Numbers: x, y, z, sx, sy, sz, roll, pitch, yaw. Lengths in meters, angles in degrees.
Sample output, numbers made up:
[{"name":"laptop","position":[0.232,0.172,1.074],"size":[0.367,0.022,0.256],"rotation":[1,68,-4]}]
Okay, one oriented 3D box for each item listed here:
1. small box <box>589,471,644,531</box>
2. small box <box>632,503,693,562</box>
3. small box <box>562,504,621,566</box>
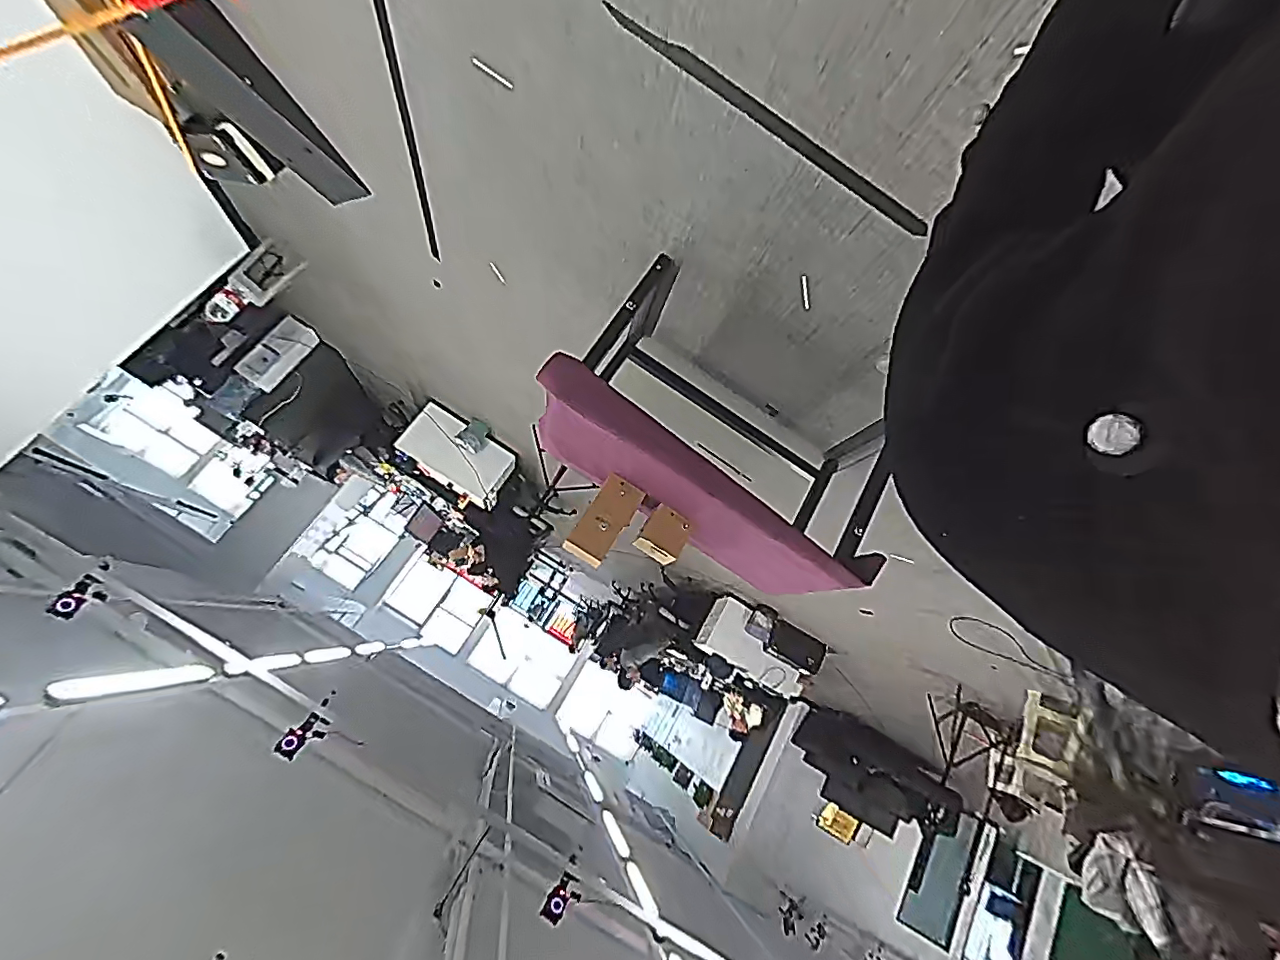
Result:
[{"name":"small box","position":[-0.103,0.090,2.190],"size":[0.168,0.176,0.179],"rotation":[33,160,-4]},{"name":"small box","position":[0.094,0.211,2.183],"size":[0.168,0.176,0.179],"rotation":[33,160,-3]},{"name":"small box","position":[-0.190,0.218,2.139],"size":[0.168,0.176,0.179],"rotation":[31,159,-1]}]
